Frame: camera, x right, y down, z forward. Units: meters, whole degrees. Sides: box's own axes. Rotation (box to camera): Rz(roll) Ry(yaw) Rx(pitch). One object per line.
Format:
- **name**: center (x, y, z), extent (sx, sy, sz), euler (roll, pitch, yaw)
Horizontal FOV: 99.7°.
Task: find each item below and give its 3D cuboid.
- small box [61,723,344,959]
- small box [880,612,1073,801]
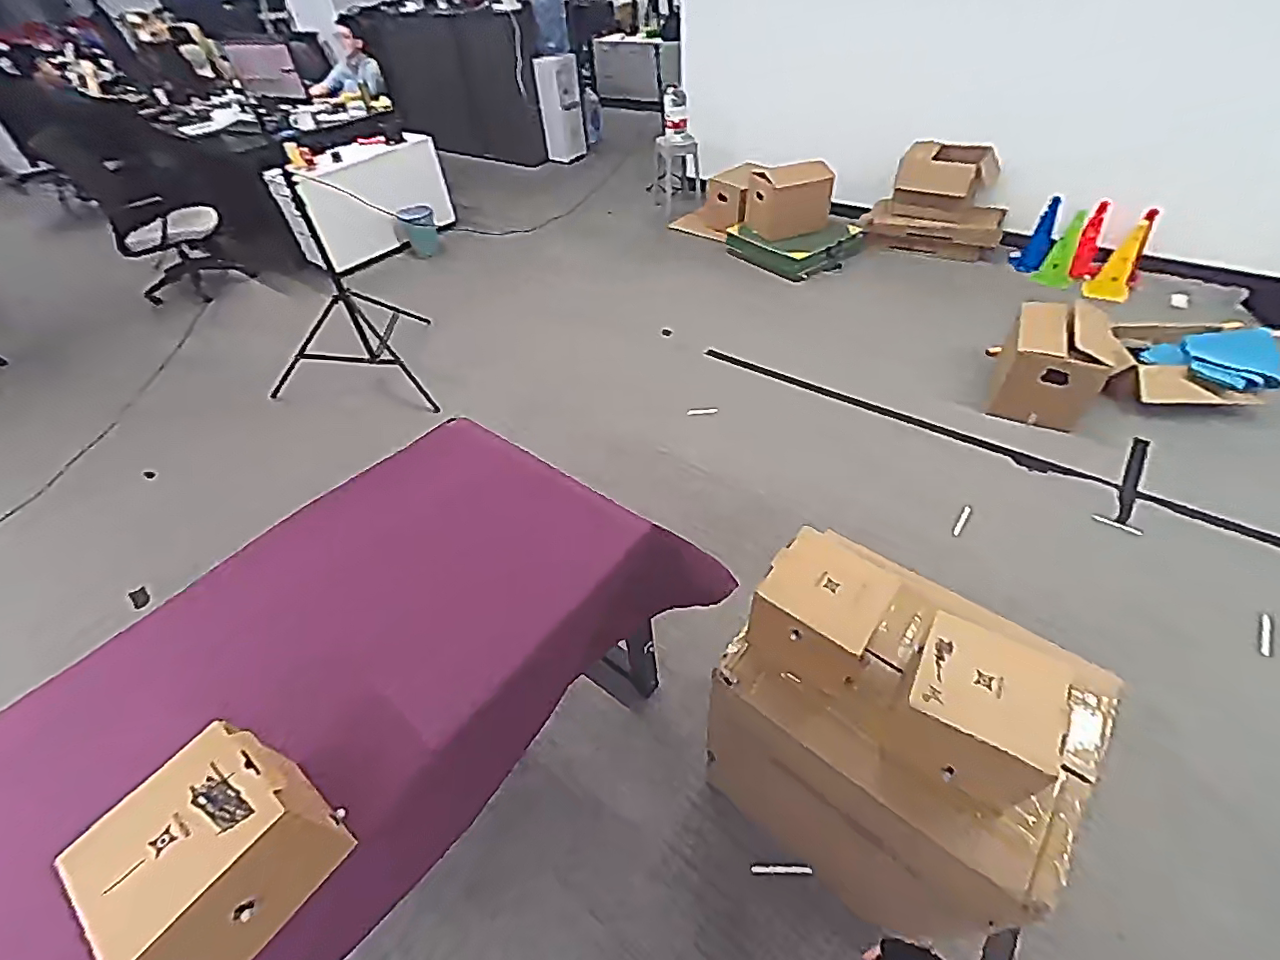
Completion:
- **small box**: center (-0.480, 0.428, 0.625), extent (0.168, 0.176, 0.179), euler (25, 53, 28)
- **small box**: center (0.474, 0.329, 0.778), extent (0.179, 0.176, 0.168), euler (22, 52, 26)
